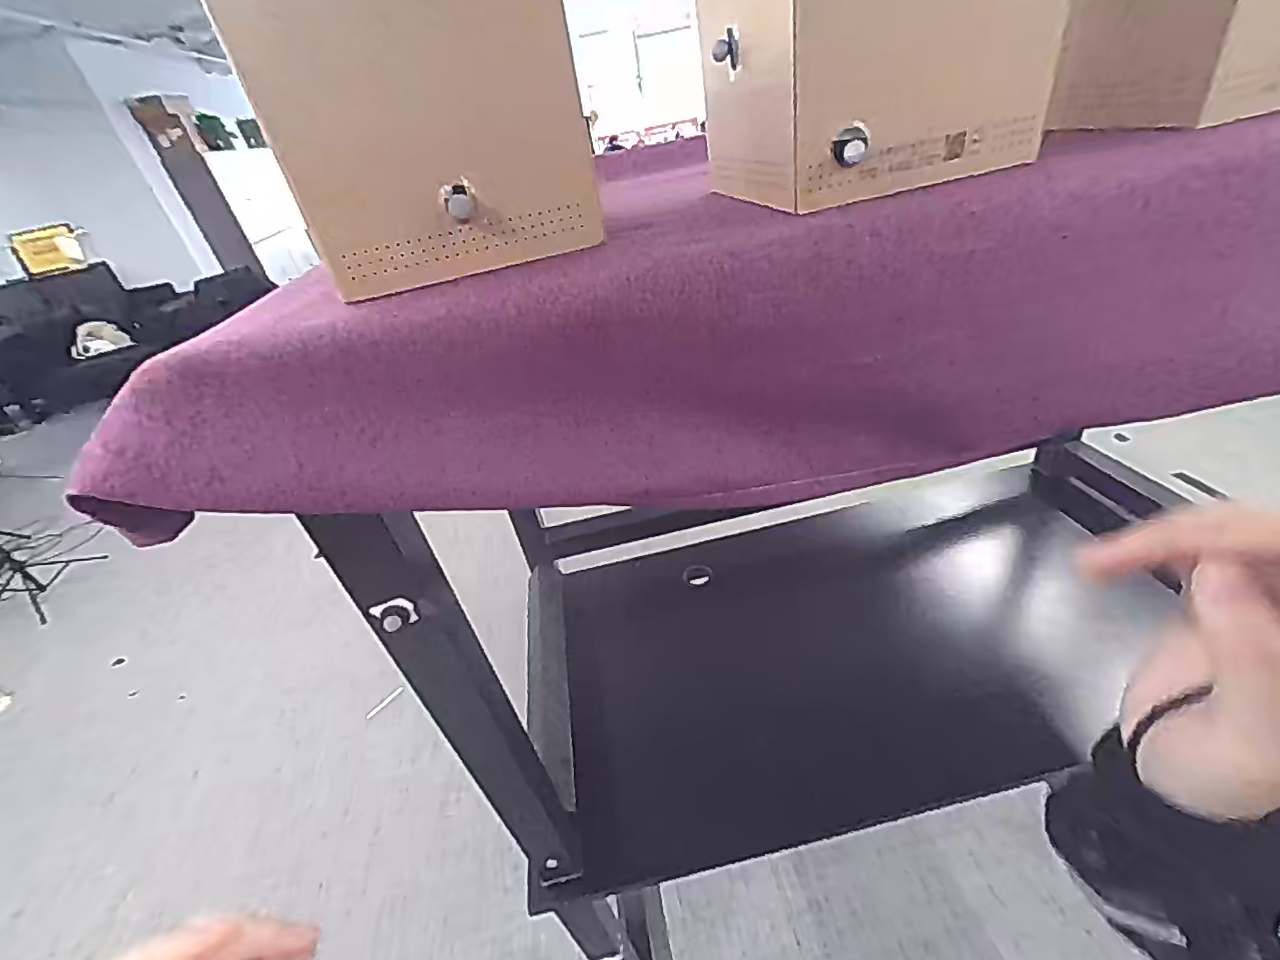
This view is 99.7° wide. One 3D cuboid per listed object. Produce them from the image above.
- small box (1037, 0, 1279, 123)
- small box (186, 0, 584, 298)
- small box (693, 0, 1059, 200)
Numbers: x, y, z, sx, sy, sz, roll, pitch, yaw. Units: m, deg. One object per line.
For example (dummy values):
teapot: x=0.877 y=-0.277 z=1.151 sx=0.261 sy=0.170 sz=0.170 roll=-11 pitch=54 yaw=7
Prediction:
small box: x=0.394 y=-0.353 z=0.363 sx=0.168 sy=0.176 sz=0.179 roll=-15 pitch=34 yaw=-4
small box: x=-0.143 y=-0.237 z=0.357 sx=0.179 sy=0.176 sz=0.168 roll=-18 pitch=34 yaw=-11
small box: x=0.141 y=-0.294 z=0.355 sx=0.168 sy=0.176 sz=0.179 roll=-14 pitch=33 yaw=-4
